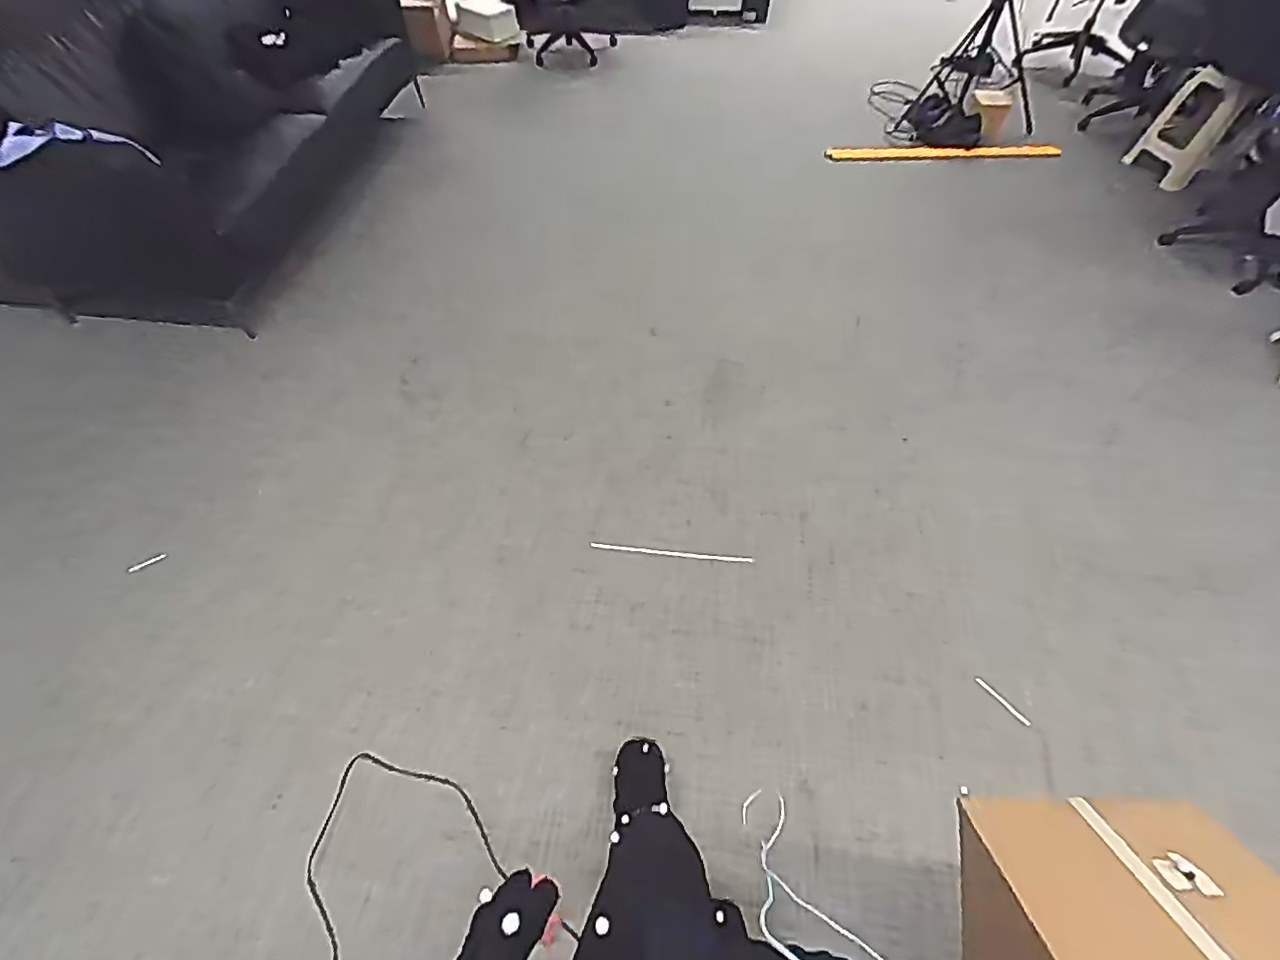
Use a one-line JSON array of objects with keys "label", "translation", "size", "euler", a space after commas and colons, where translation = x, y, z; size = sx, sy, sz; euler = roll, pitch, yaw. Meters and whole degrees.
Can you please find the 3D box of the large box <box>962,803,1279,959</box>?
[{"label": "large box", "translation": [0.626, 0.654, 0.617], "size": [0.320, 0.408, 0.320], "euler": [-4, 96, 9]}]
